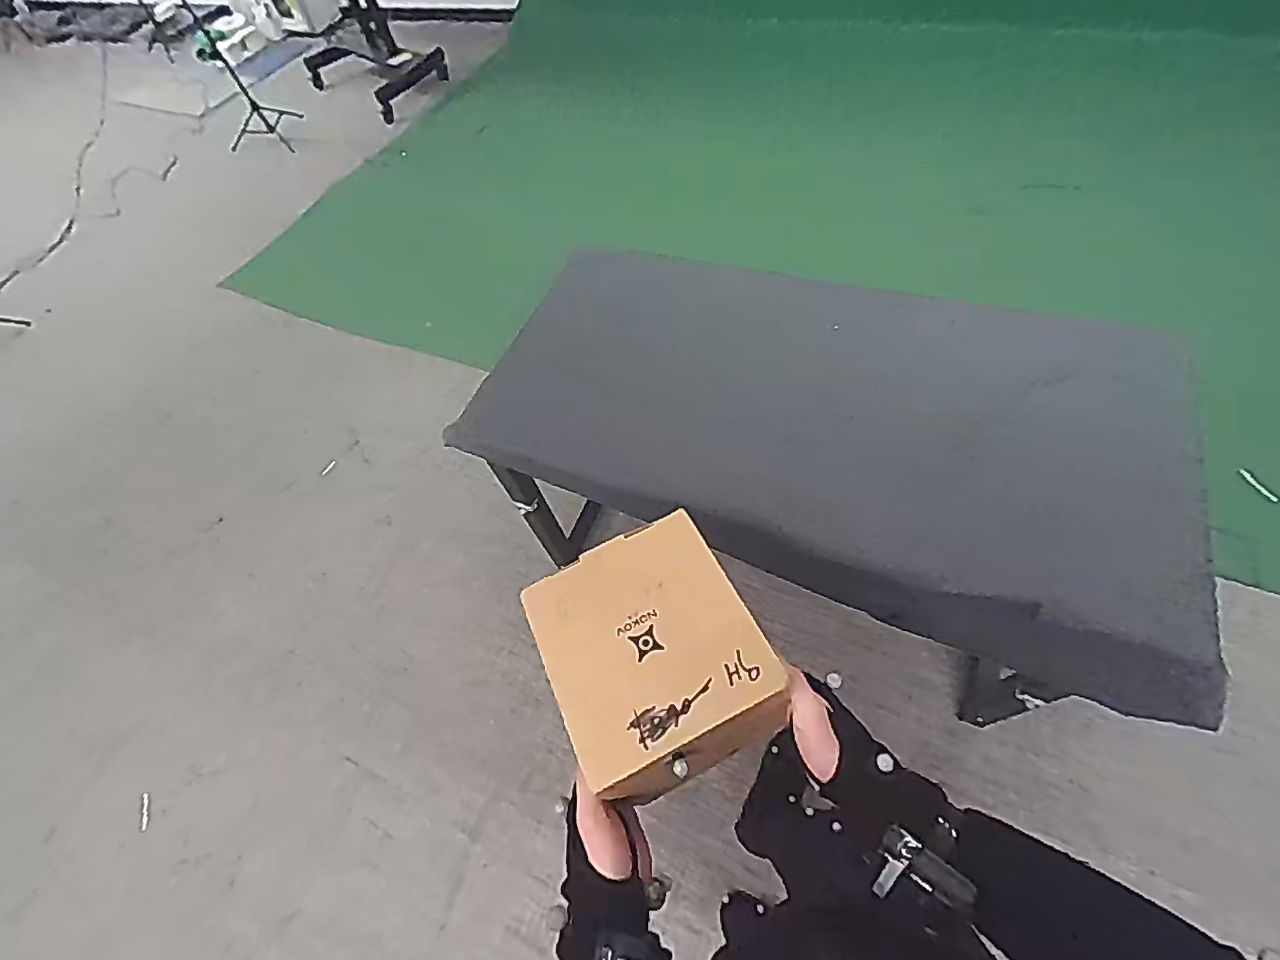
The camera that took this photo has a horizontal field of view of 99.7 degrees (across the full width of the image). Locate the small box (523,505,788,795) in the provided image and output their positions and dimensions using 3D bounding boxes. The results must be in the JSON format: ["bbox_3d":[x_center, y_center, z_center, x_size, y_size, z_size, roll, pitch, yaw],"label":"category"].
[{"bbox_3d":[0.018,0.162,0.499,0.168,0.176,0.179,-28,55,-3],"label":"small box"}]
